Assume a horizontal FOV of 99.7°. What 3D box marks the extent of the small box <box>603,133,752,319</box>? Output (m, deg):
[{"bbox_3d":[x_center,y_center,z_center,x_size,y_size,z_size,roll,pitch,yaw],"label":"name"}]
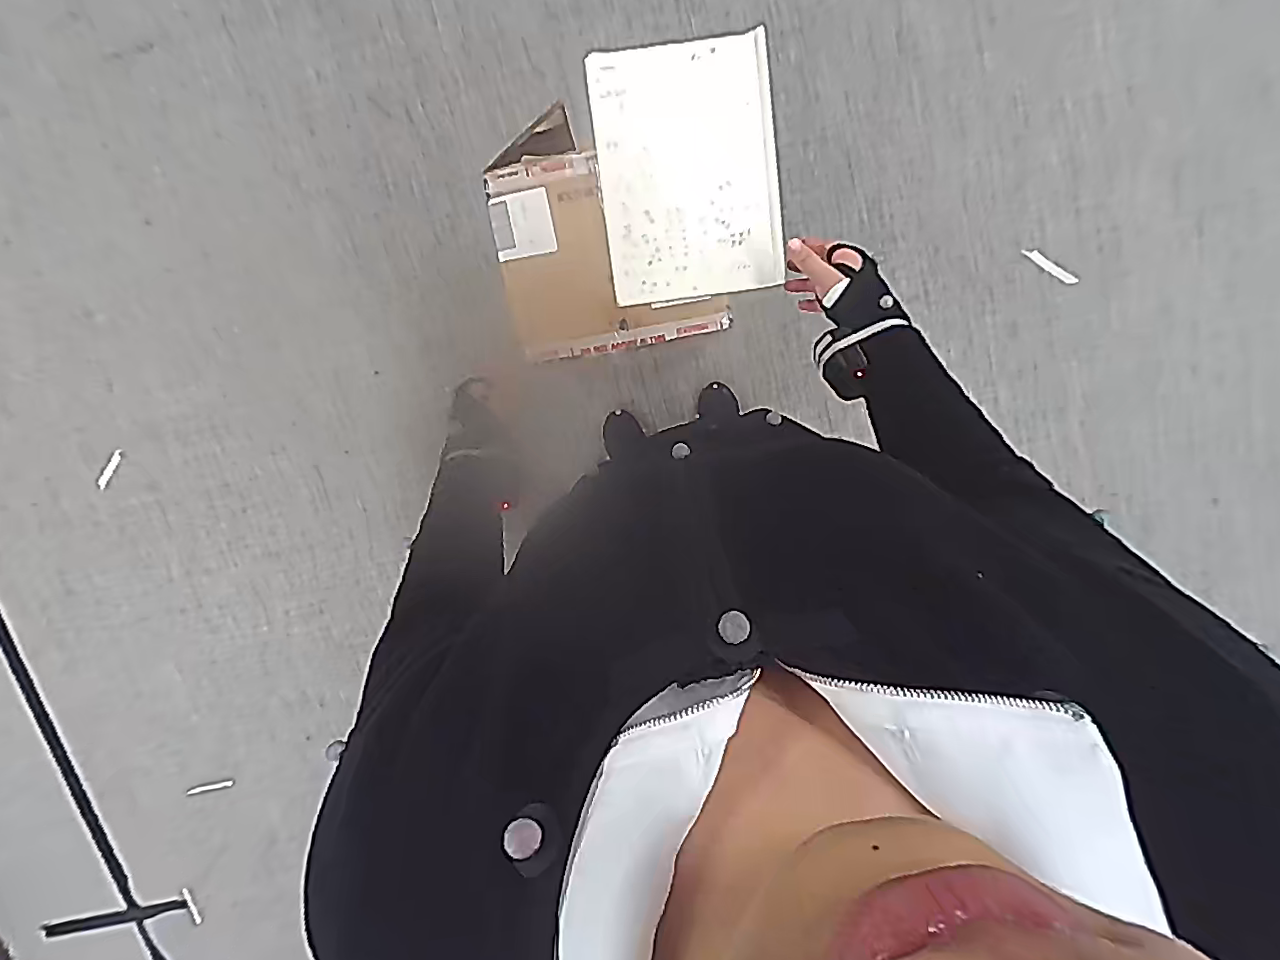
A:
[{"bbox_3d":[0.043,-0.321,0.716,0.168,0.176,0.179,-8,101,0],"label":"small box"}]
